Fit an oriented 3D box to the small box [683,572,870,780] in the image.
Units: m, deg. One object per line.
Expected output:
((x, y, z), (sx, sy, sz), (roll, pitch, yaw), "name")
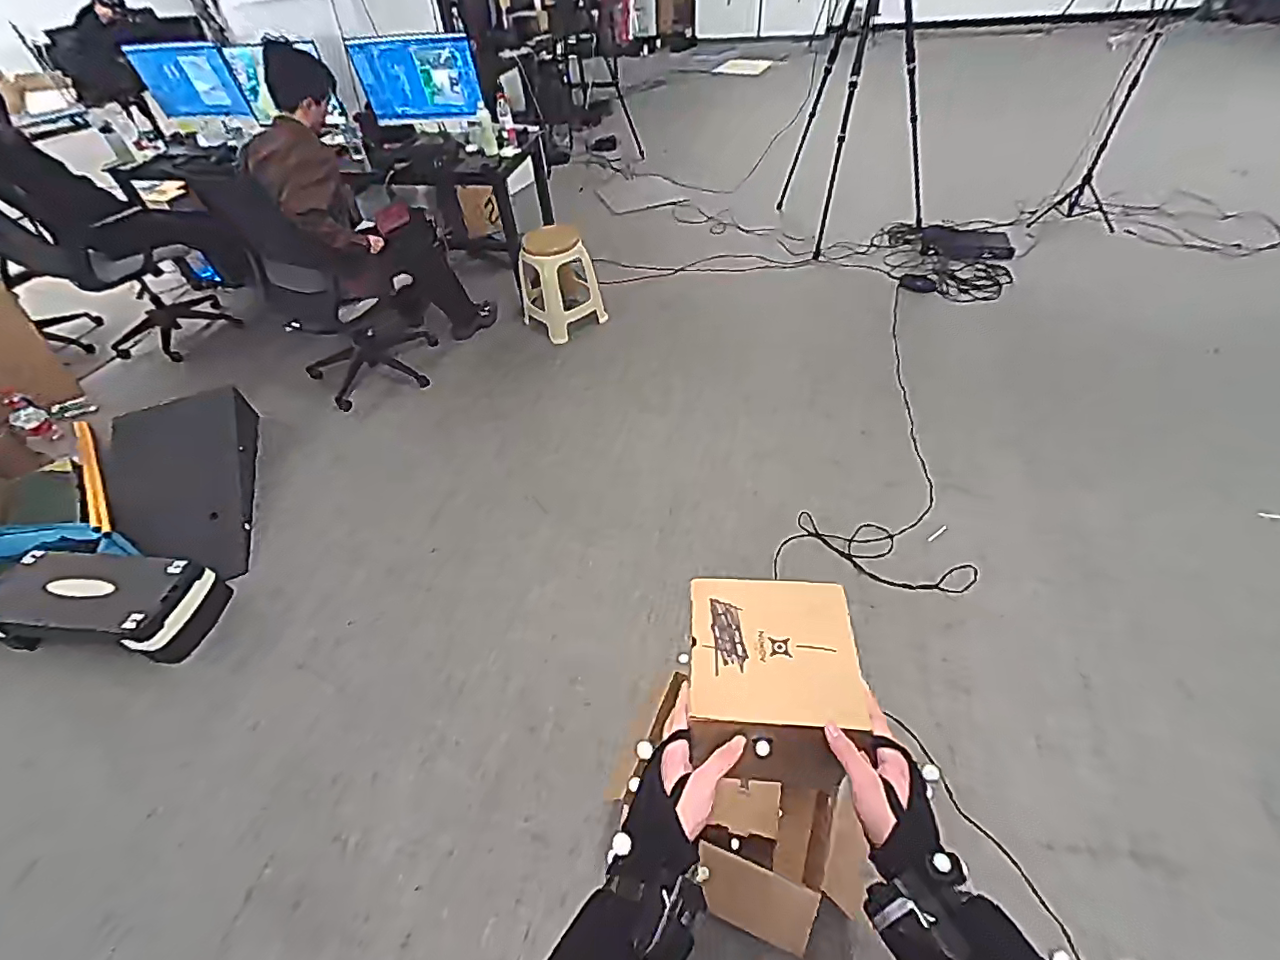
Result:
((0.147, 0.226, 0.621), (0.179, 0.176, 0.168), (4, 47, 9), "small box")
